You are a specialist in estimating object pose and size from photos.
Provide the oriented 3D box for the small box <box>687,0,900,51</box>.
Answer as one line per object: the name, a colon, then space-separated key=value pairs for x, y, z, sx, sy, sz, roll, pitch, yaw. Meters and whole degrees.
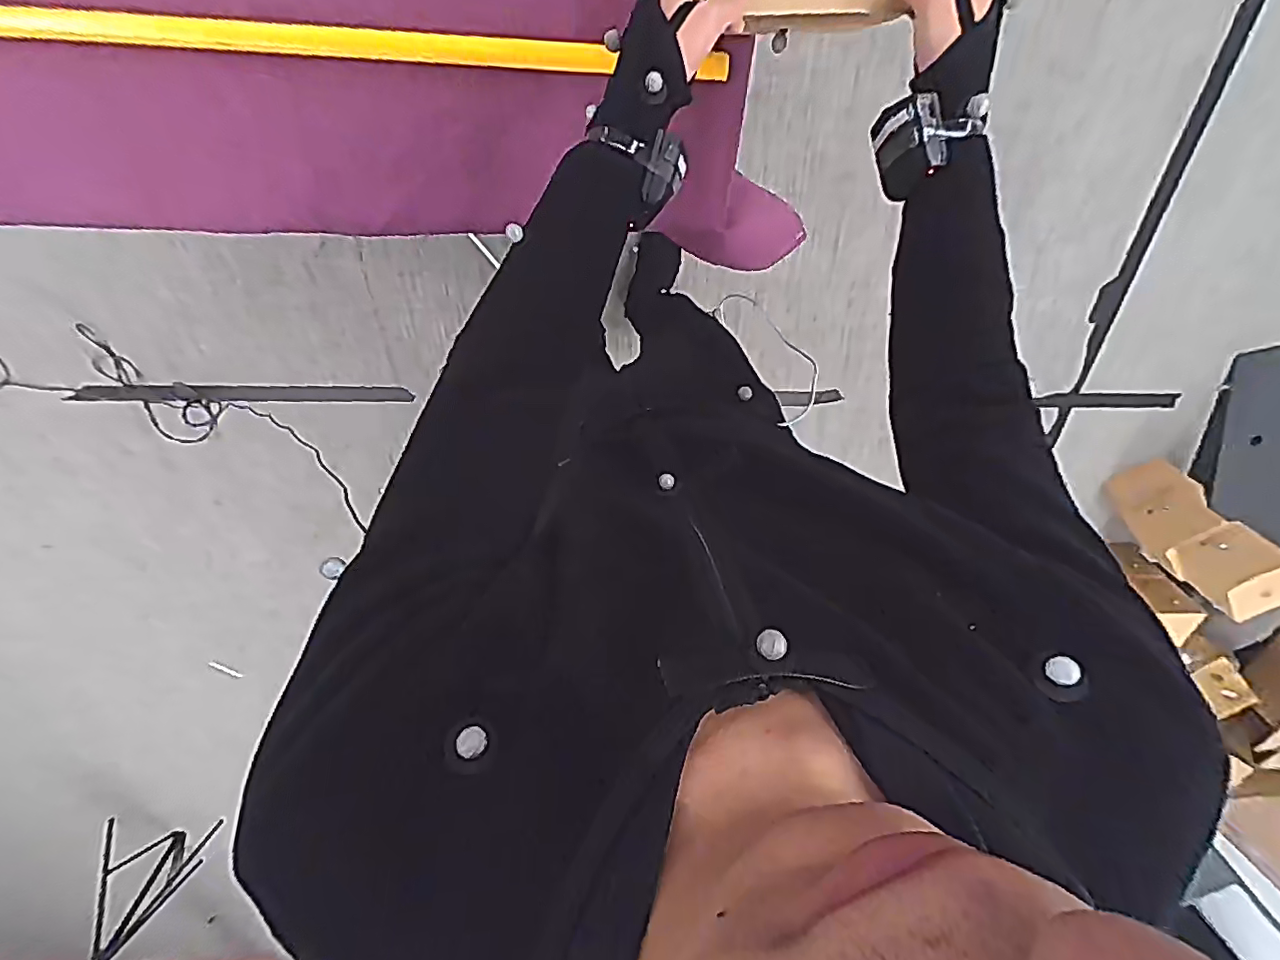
small box: x=0.138 y=-0.506 z=0.495 sx=0.179 sy=0.176 sz=0.168 roll=1 pitch=125 yaw=1
